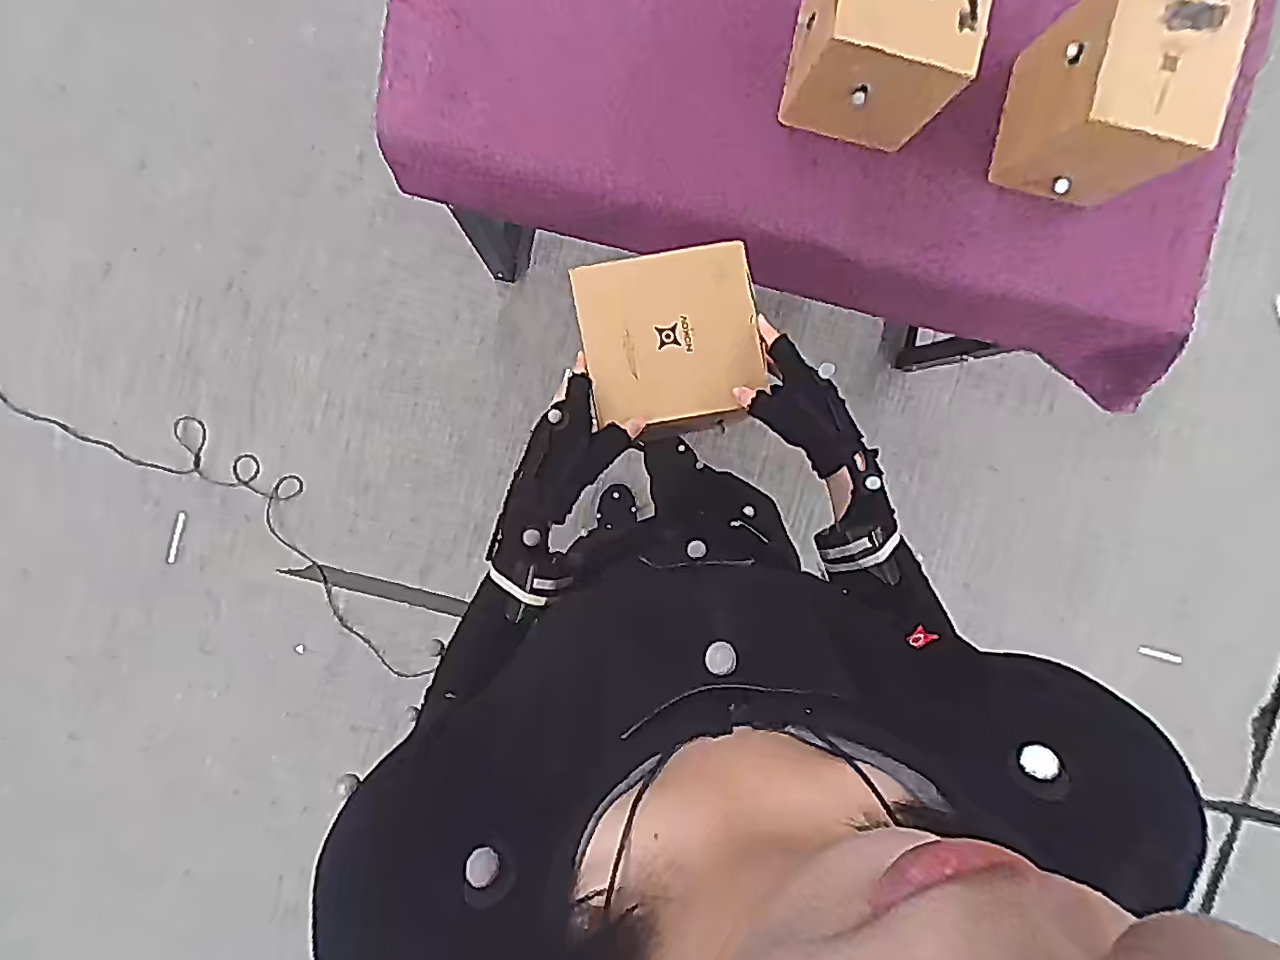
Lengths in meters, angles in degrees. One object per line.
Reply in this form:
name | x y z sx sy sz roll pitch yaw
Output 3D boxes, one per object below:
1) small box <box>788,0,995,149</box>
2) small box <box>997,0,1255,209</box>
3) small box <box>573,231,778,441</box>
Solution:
small box | 0.302 -0.548 0.671 0.179 0.176 0.168 11 93 -4
small box | 0.606 -0.487 0.698 0.168 0.176 0.179 11 94 -5
small box | 0.033 -0.145 0.600 0.179 0.176 0.168 -11 88 0
